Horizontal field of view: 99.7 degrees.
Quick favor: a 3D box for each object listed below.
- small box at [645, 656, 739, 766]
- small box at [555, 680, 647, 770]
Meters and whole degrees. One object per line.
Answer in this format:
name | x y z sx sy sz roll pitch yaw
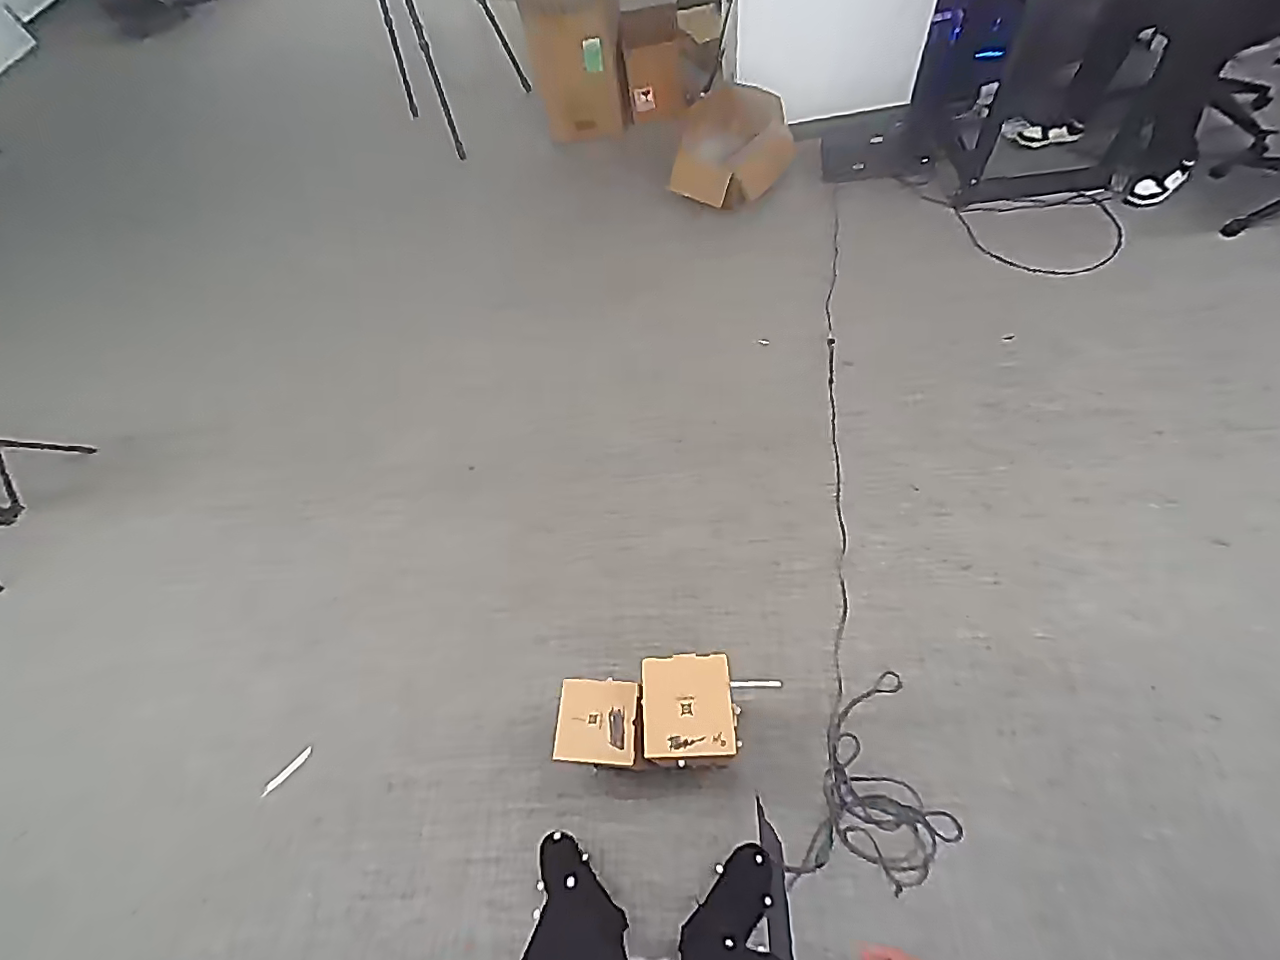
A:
small box | 0.102 0.454 1.054 0.168 0.176 0.179 -6 59 8
small box | -0.074 0.555 1.220 0.179 0.176 0.168 -1 60 11
